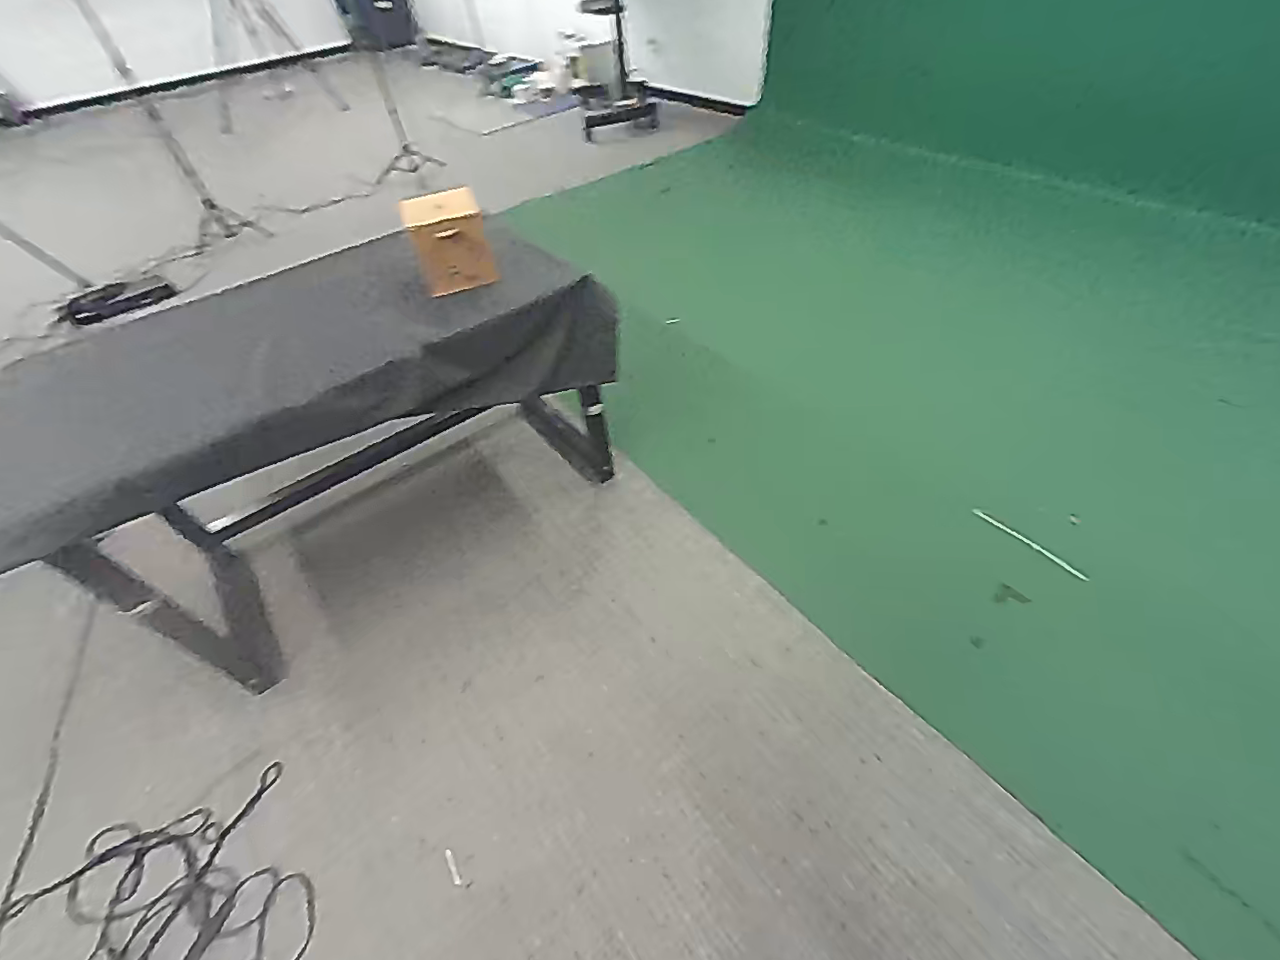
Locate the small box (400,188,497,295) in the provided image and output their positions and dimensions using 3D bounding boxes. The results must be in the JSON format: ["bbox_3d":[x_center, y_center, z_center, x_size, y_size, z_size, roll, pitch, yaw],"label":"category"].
[{"bbox_3d":[-0.458,-0.570,1.296,0.168,0.176,0.179,-19,49,-11],"label":"small box"}]
